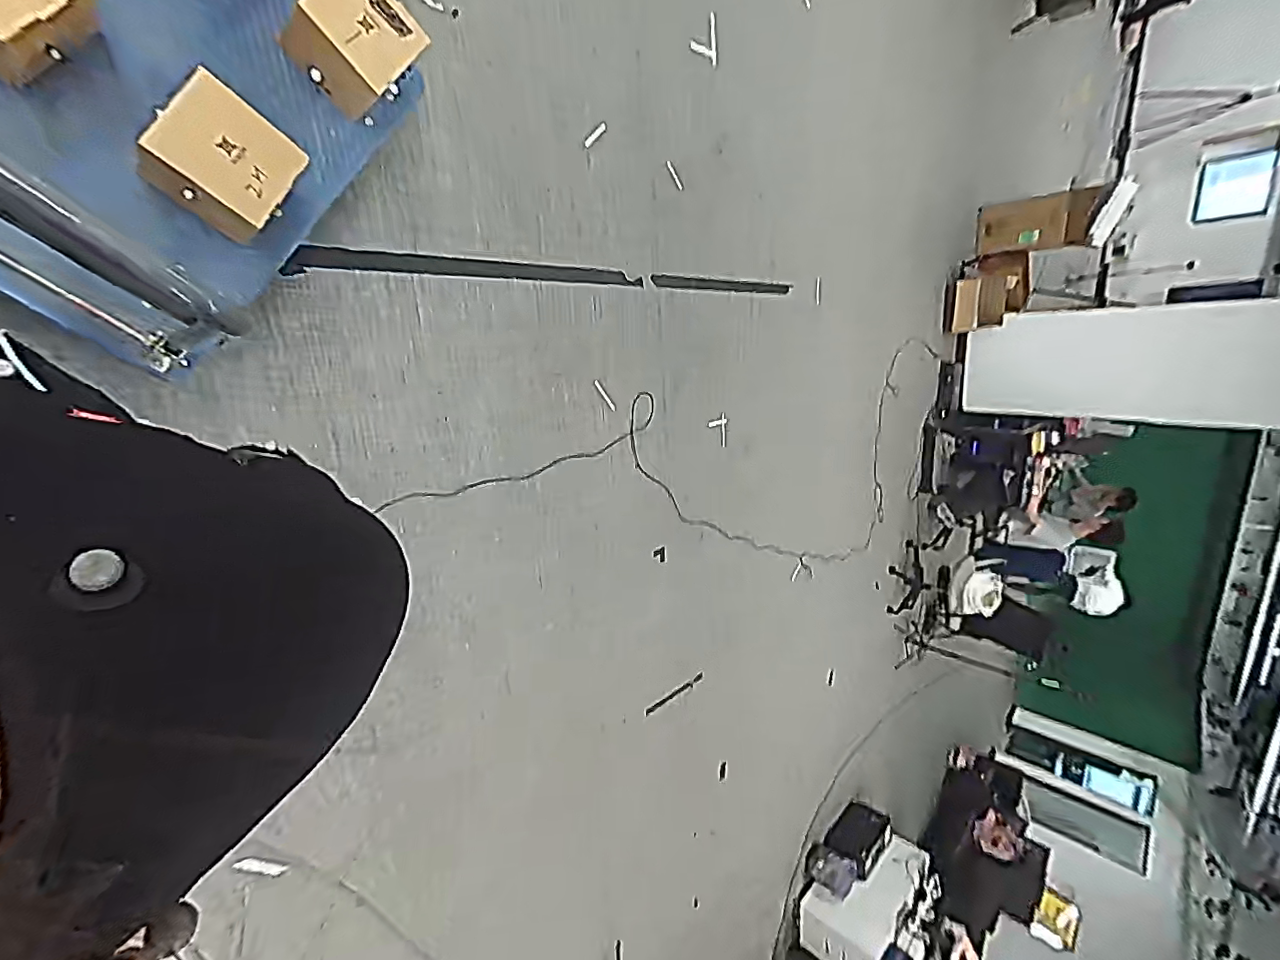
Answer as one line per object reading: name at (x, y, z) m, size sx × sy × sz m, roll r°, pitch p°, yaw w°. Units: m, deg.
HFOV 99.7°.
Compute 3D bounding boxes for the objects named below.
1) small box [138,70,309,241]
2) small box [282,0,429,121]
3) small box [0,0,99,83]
small box at (-0.729, -0.549, 0.944) m, size 0.179 × 0.176 × 0.168 m, roll 38°, pitch 71°, yaw -43°
small box at (-0.559, -0.854, 1.056) m, size 0.168 × 0.176 × 0.179 m, roll 44°, pitch 68°, yaw -41°
small box at (-0.905, -0.698, 0.737) m, size 0.179 × 0.176 × 0.168 m, roll 47°, pitch 64°, yaw -42°
